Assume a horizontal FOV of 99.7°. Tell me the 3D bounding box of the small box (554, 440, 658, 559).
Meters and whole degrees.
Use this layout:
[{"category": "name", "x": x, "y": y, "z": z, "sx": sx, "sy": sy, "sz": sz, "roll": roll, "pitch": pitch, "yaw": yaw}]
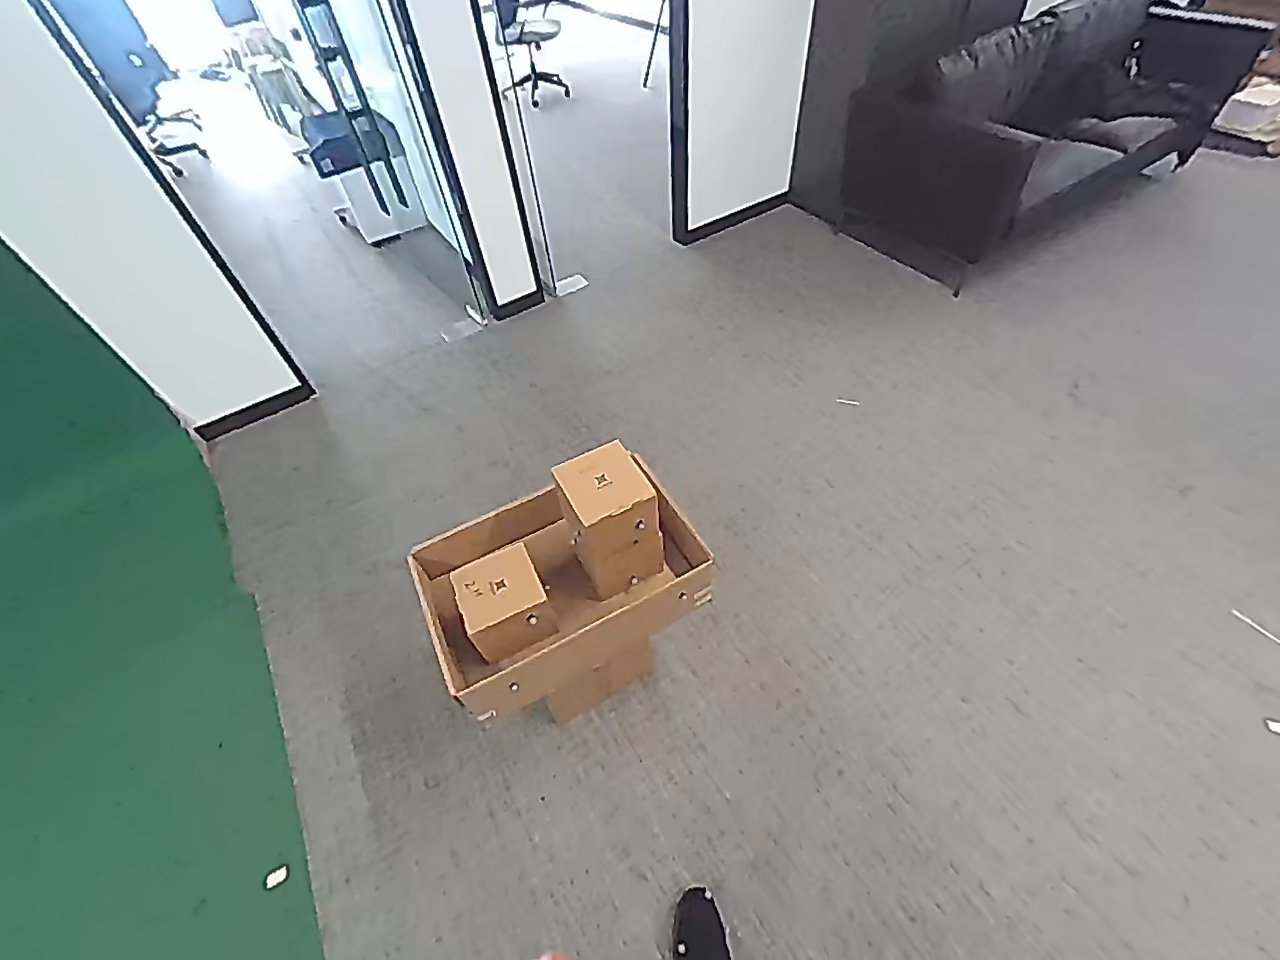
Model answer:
[{"category": "small box", "x": -0.068, "y": 0.050, "z": 1.179, "sx": 0.168, "sy": 0.176, "sz": 0.179, "roll": -24, "pitch": 53, "yaw": -15}]
